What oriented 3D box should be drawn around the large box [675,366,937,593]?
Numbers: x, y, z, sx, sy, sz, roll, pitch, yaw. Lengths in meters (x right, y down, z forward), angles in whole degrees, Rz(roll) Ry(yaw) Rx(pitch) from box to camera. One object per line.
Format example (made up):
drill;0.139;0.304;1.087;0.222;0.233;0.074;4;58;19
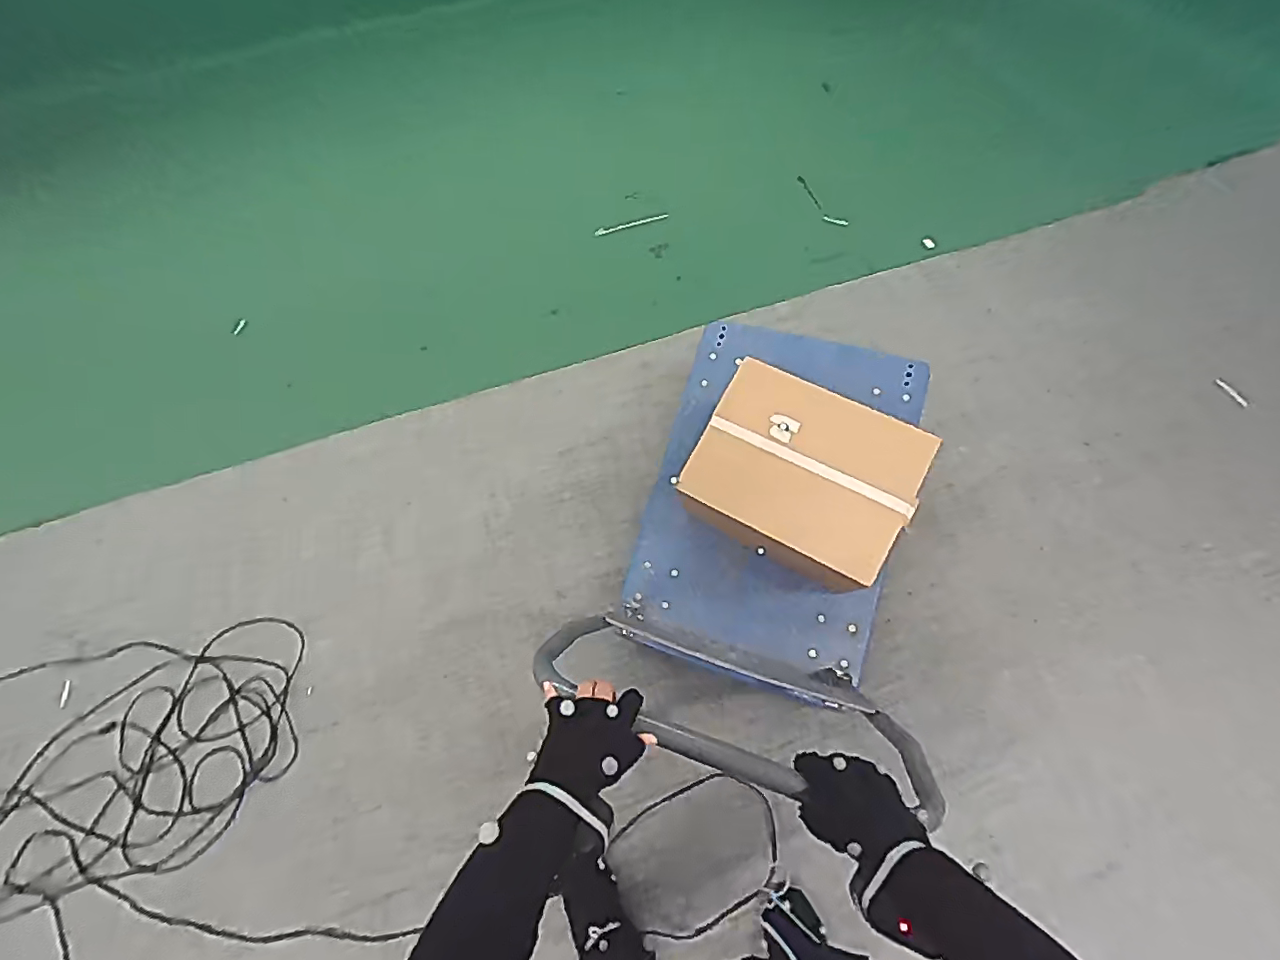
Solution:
large box;0.340;0.016;1.175;0.408;0.320;0.320;28;82;16
